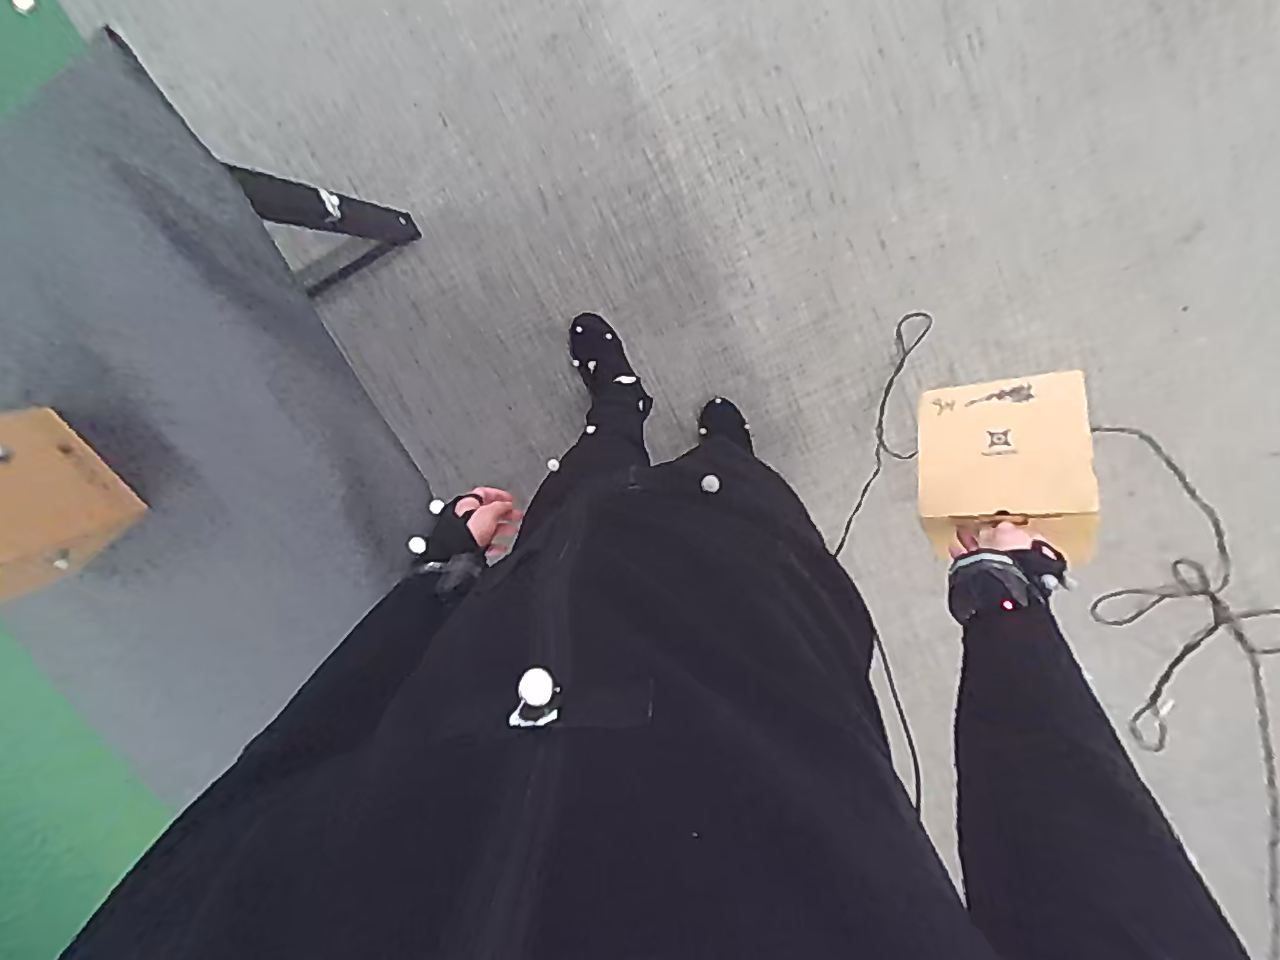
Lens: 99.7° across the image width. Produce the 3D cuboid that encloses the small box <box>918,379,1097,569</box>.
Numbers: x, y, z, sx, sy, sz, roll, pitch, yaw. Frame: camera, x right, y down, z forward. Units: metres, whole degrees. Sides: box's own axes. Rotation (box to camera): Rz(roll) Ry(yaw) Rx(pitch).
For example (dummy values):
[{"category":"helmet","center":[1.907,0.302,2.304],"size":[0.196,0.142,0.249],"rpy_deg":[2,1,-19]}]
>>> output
[{"category":"small box","center":[0.453,0.003,0.672],"size":[0.168,0.179,0.176],"rpy_deg":[-3,152,35]}]
